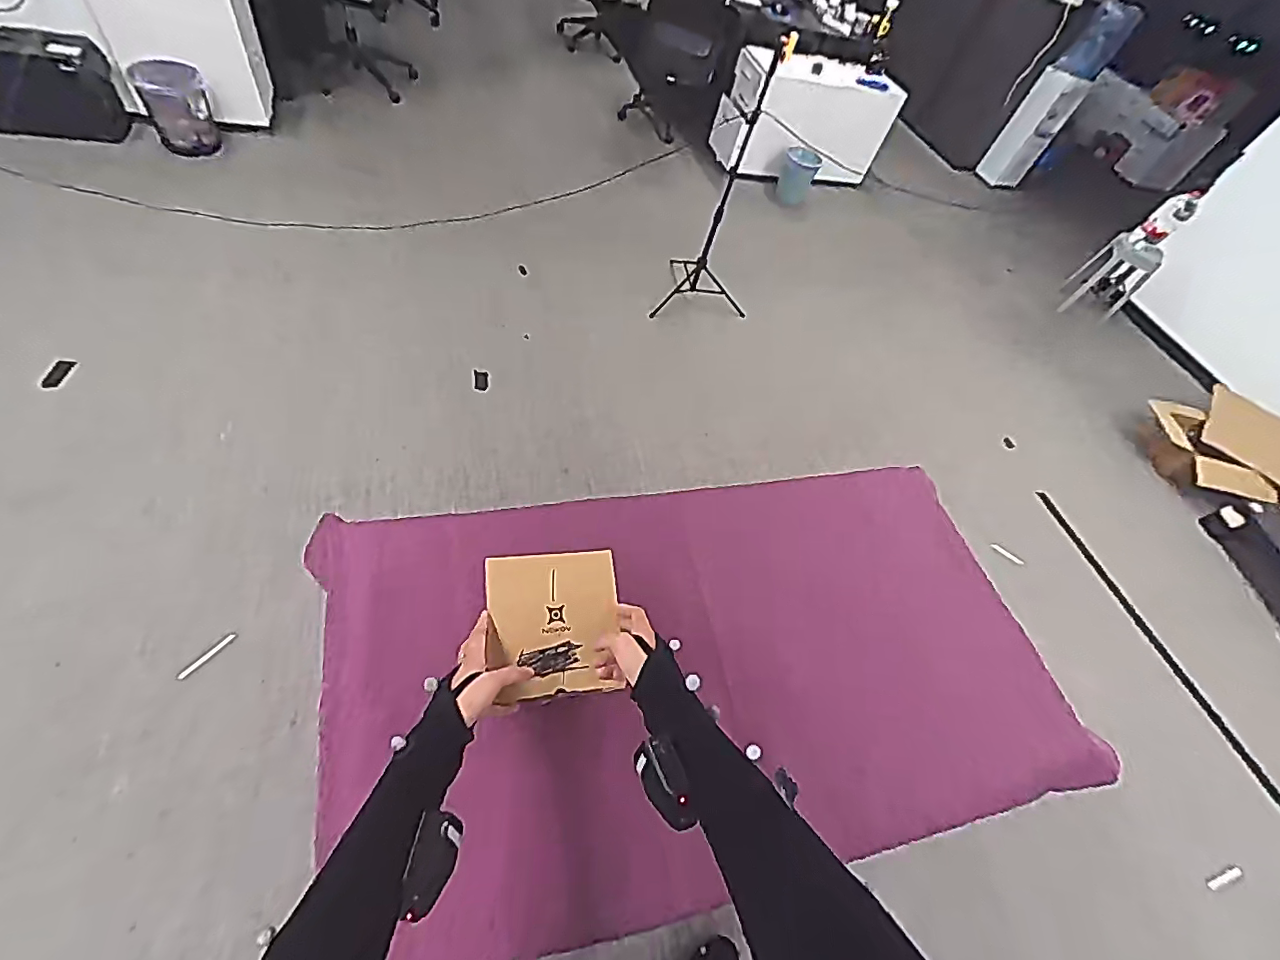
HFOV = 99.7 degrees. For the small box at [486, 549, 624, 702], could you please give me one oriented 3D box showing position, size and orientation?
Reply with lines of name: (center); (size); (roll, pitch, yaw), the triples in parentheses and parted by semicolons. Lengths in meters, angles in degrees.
small box: (-0.125, 0.205, 0.752); (0.168, 0.176, 0.179); (-2, 68, -16)
